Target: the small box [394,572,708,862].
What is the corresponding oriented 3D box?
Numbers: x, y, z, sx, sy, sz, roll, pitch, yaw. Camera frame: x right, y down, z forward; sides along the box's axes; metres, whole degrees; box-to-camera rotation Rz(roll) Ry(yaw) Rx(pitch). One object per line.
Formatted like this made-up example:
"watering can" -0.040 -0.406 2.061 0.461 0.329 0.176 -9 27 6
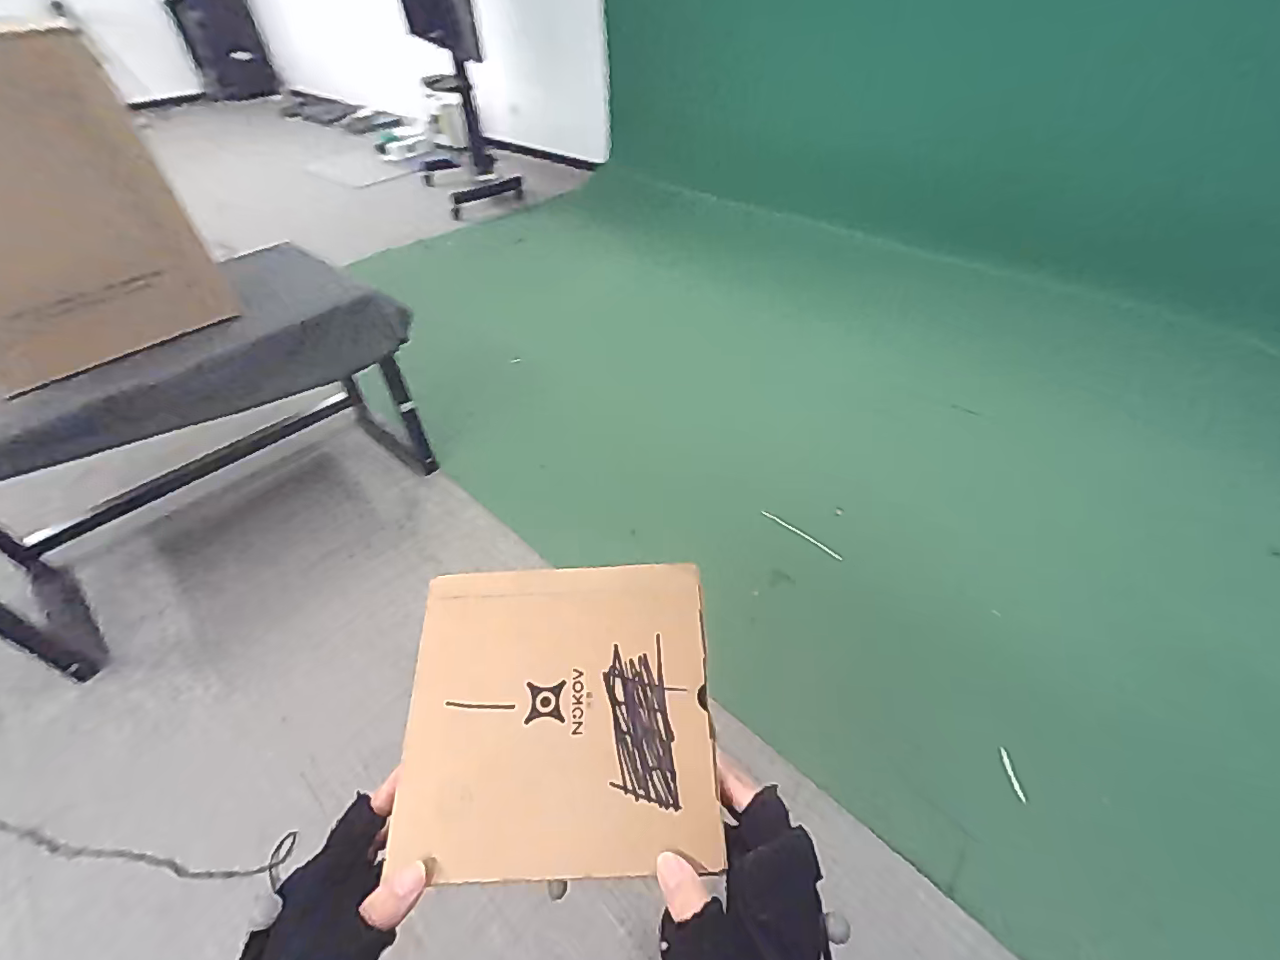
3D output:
"small box" -0.050 0.177 0.406 0.179 0.176 0.168 -3 59 0
